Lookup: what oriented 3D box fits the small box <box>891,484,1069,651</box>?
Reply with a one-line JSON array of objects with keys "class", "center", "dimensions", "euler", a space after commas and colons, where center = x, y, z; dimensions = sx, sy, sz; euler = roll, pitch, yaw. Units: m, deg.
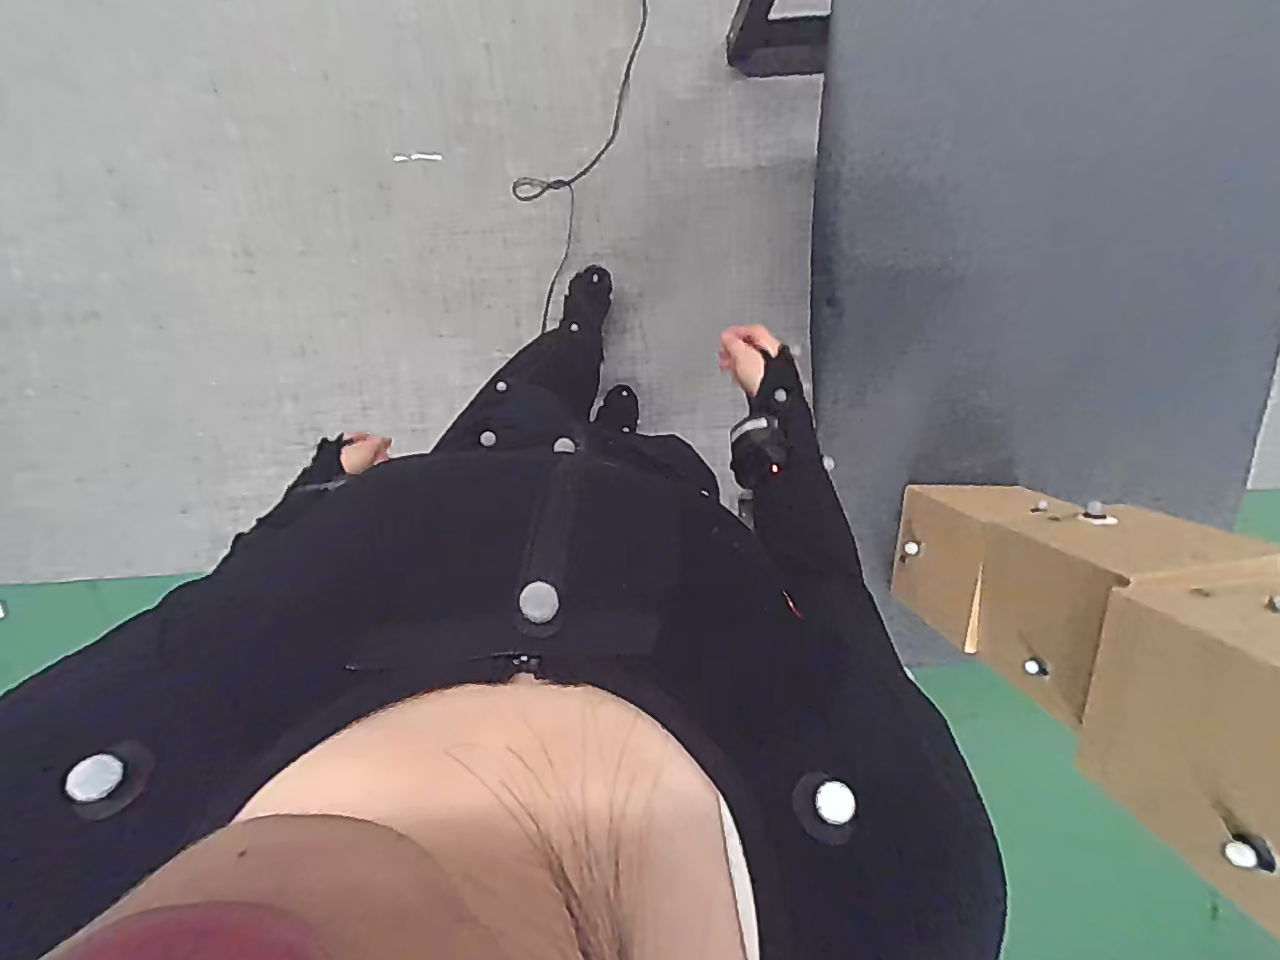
[{"class": "small box", "center": [0.460, 0.103, 0.697], "dimensions": [0.179, 0.176, 0.168], "euler": [1, 103, -5]}]

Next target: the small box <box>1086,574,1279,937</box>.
[{"class": "small box", "center": [0.466, 0.181, 0.379], "dimensions": [0.168, 0.176, 0.179], "euler": [-2, 103, -6]}]

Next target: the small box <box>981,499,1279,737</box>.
[{"class": "small box", "center": [0.473, 0.129, 0.537], "dimensions": [0.168, 0.176, 0.179], "euler": [-7, 102, -5]}]
